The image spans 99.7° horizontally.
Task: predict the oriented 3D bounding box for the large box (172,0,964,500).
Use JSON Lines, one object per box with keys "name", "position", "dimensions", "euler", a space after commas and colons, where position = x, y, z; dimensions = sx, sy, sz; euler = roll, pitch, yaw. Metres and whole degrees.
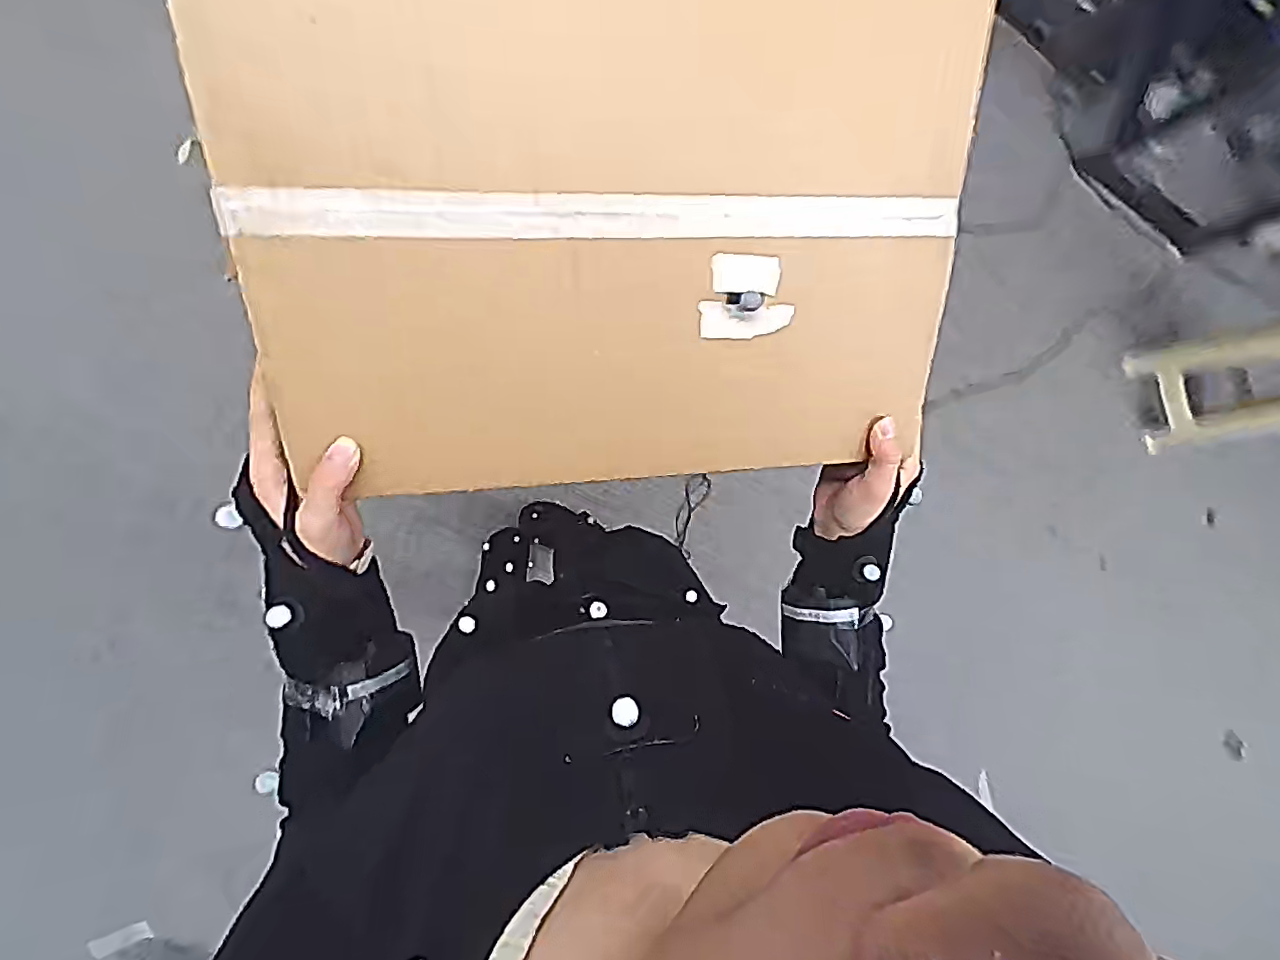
{"name": "large box", "position": [-0.042, -0.203, 0.439], "dimensions": [0.408, 0.320, 0.320], "euler": [-6, 113, -11]}
